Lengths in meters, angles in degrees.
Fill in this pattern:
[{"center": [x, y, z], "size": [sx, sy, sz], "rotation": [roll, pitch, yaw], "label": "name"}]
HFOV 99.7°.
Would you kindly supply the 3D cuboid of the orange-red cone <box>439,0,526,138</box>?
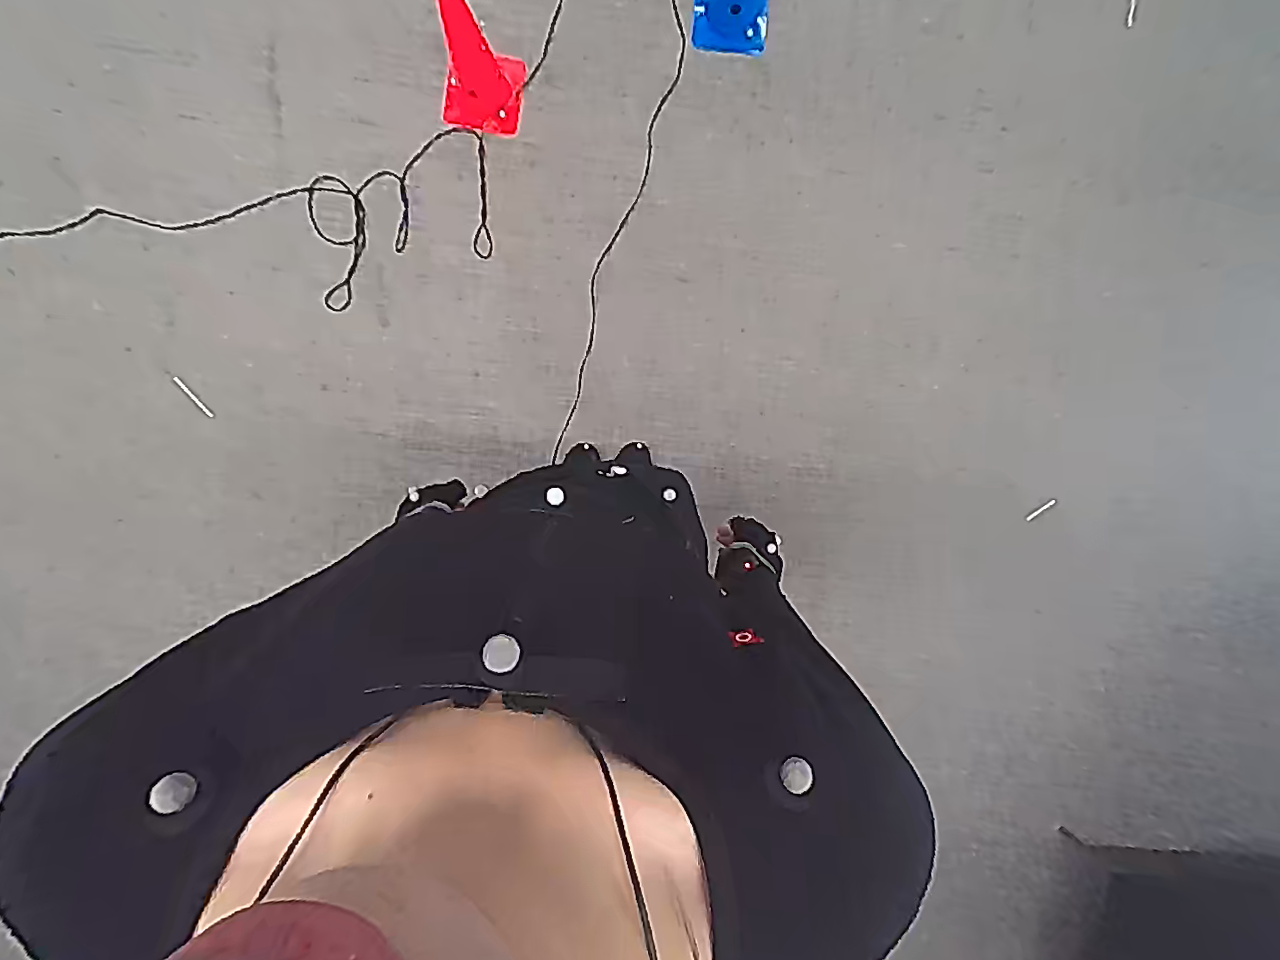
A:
[{"center": [-0.401, -1.012, 1.255], "size": [0.198, 0.360, 0.199], "rotation": [10, 92, -4], "label": "orange-red cone"}]
